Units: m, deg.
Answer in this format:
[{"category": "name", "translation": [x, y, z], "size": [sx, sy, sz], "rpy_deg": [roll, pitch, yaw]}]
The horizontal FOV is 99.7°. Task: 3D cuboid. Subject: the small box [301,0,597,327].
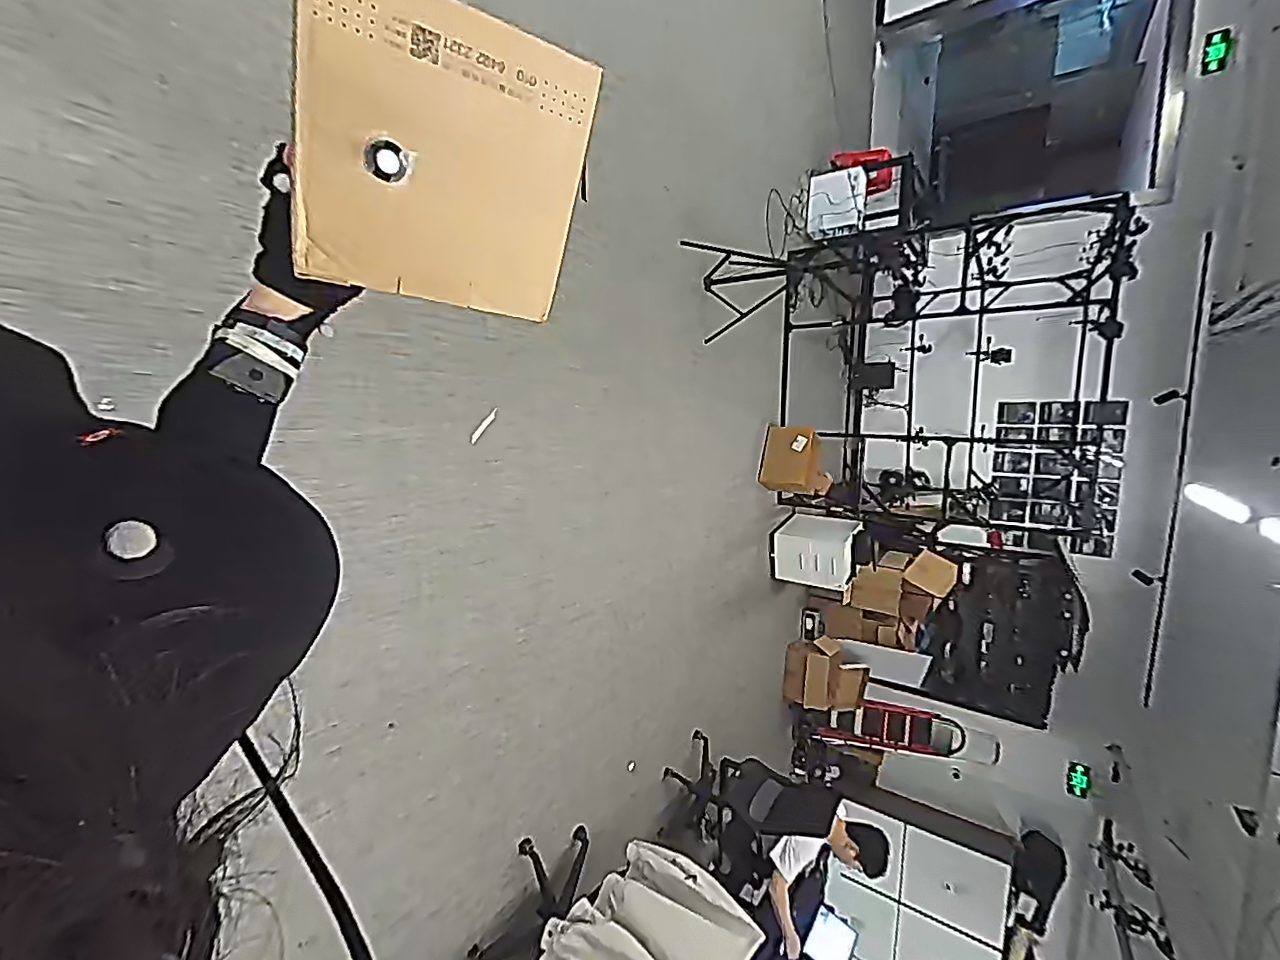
[{"category": "small box", "translation": [-0.146, -0.231, 0.392], "size": [0.168, 0.179, 0.176], "rpy_deg": [4, 119, -32]}]
